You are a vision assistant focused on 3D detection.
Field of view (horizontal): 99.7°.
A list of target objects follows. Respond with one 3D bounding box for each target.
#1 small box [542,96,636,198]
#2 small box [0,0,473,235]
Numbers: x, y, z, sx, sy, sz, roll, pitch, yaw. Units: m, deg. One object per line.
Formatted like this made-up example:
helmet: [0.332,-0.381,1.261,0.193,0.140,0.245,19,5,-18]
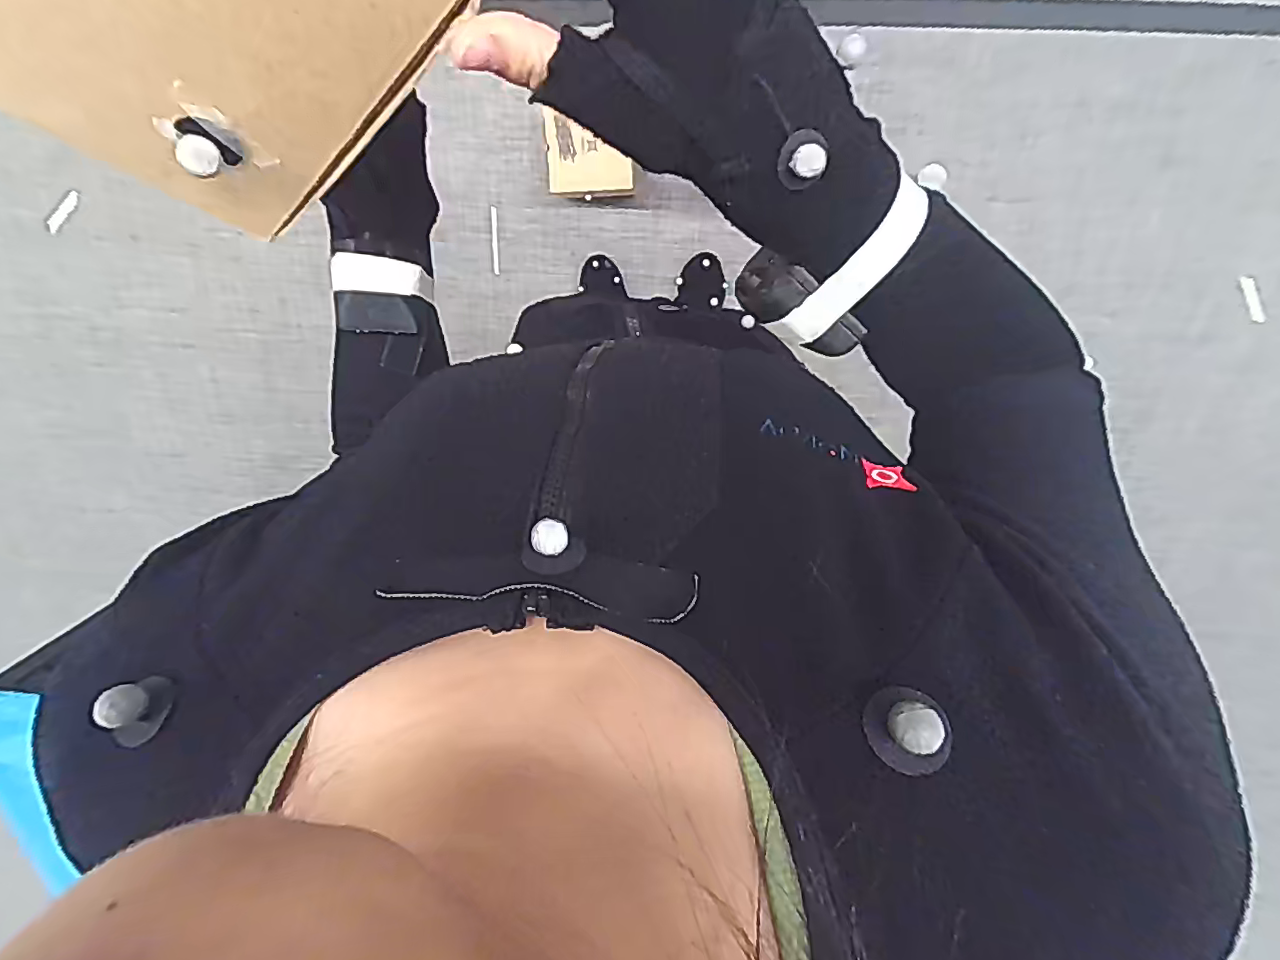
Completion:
small box: [-0.103,-0.709,1.168,0.179,0.176,0.168,-1,114,3]
small box: [-0.175,-0.238,0.194,0.179,0.168,0.176,-17,157,35]
